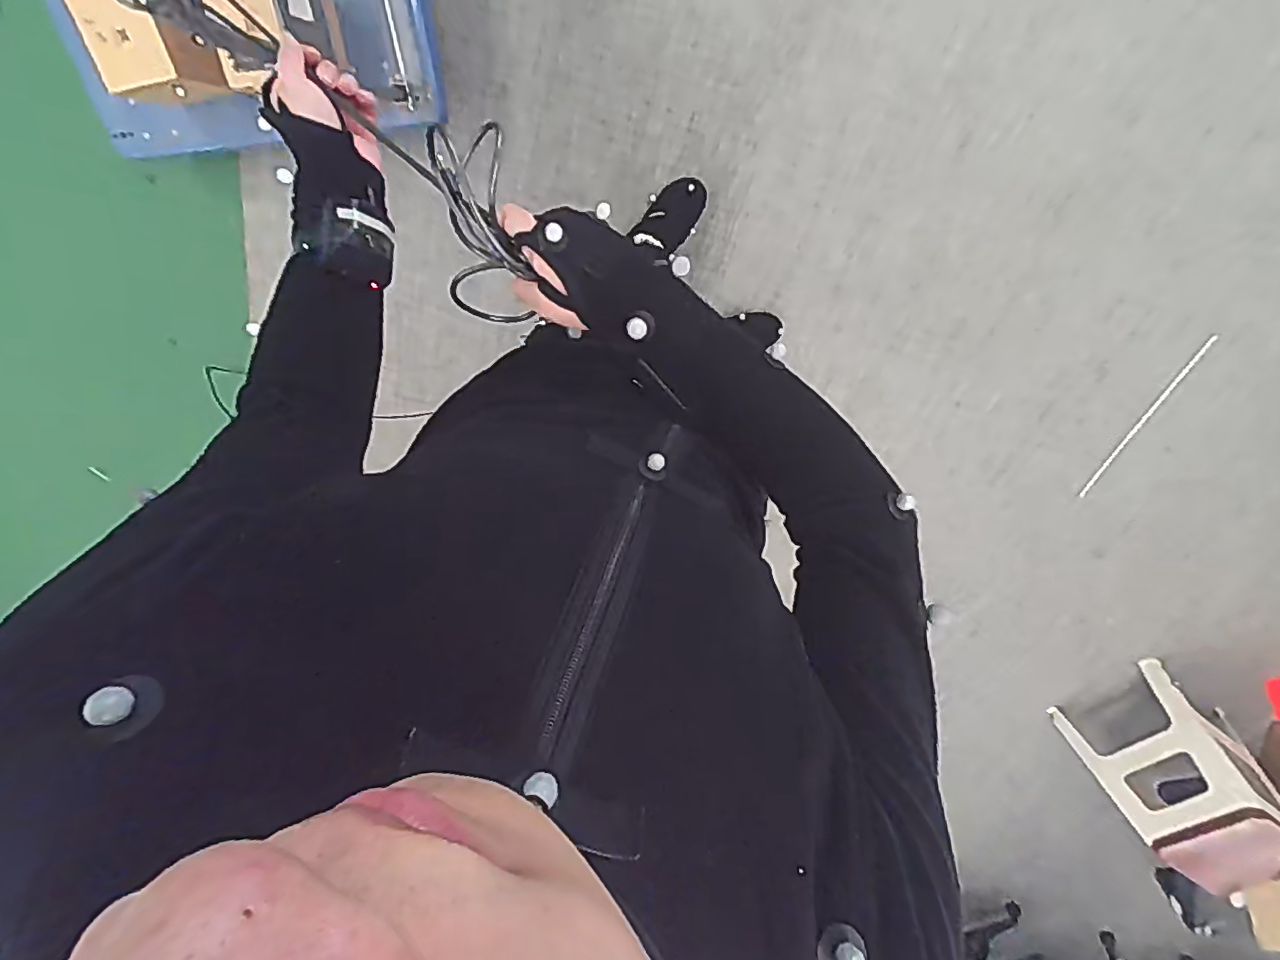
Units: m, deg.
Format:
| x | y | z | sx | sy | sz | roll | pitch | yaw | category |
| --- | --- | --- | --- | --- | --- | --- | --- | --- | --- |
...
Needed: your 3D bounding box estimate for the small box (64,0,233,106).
| x | y | z | sx | sy | sz | roll | pitch | yaw | category |
| --- | --- | --- | --- | --- | --- | --- | --- | --- | --- |
| -1.003 | -0.901 | 1.128 | 0.179 | 0.176 | 0.168 | -3 | 117 | 11 | small box |
